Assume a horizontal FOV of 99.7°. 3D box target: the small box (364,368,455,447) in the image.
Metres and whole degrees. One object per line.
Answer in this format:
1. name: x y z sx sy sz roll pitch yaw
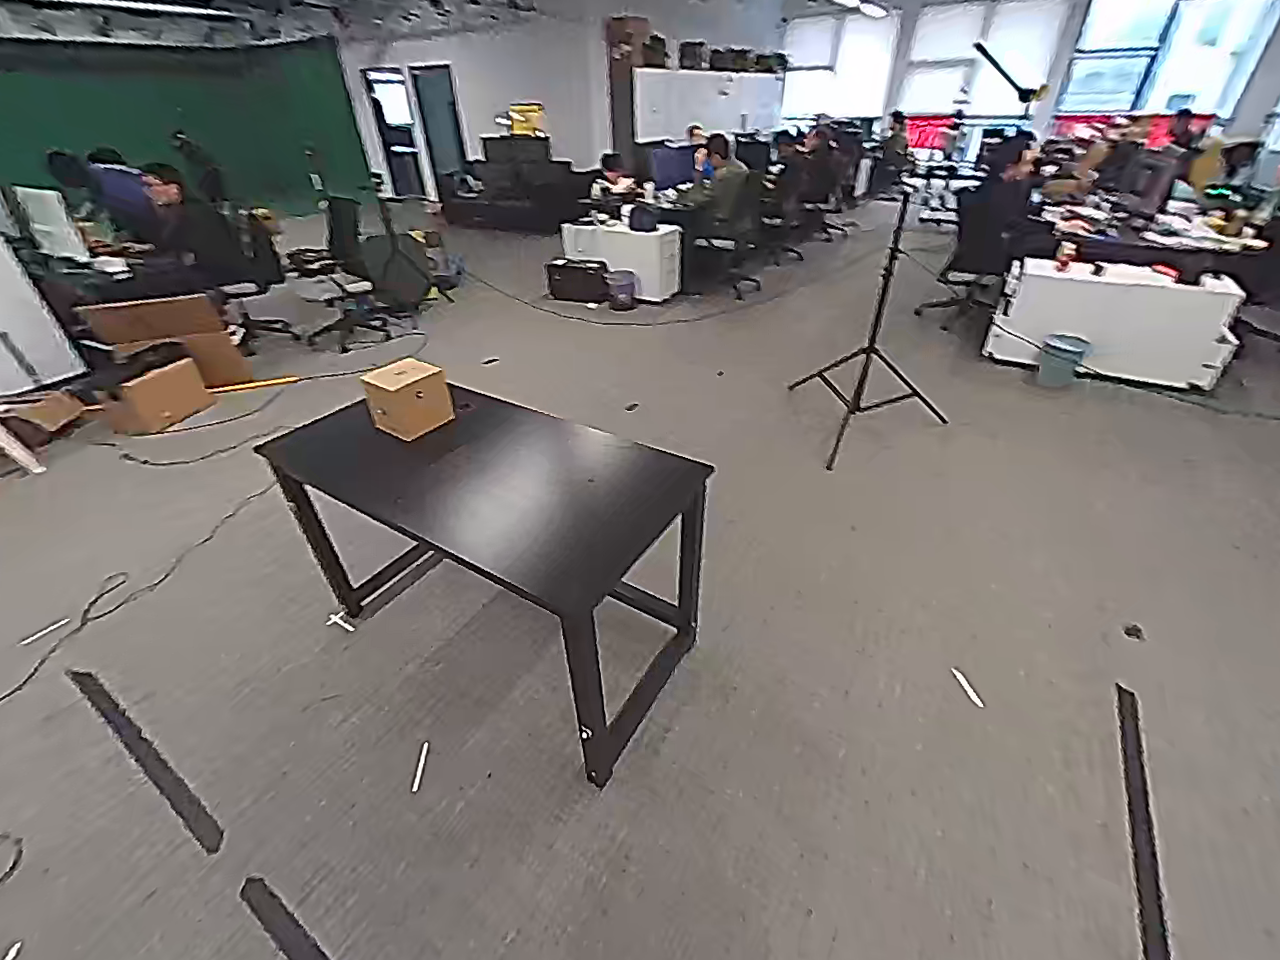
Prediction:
1. small box: -0.696 -0.220 1.651 0.168 0.176 0.179 21 41 29
